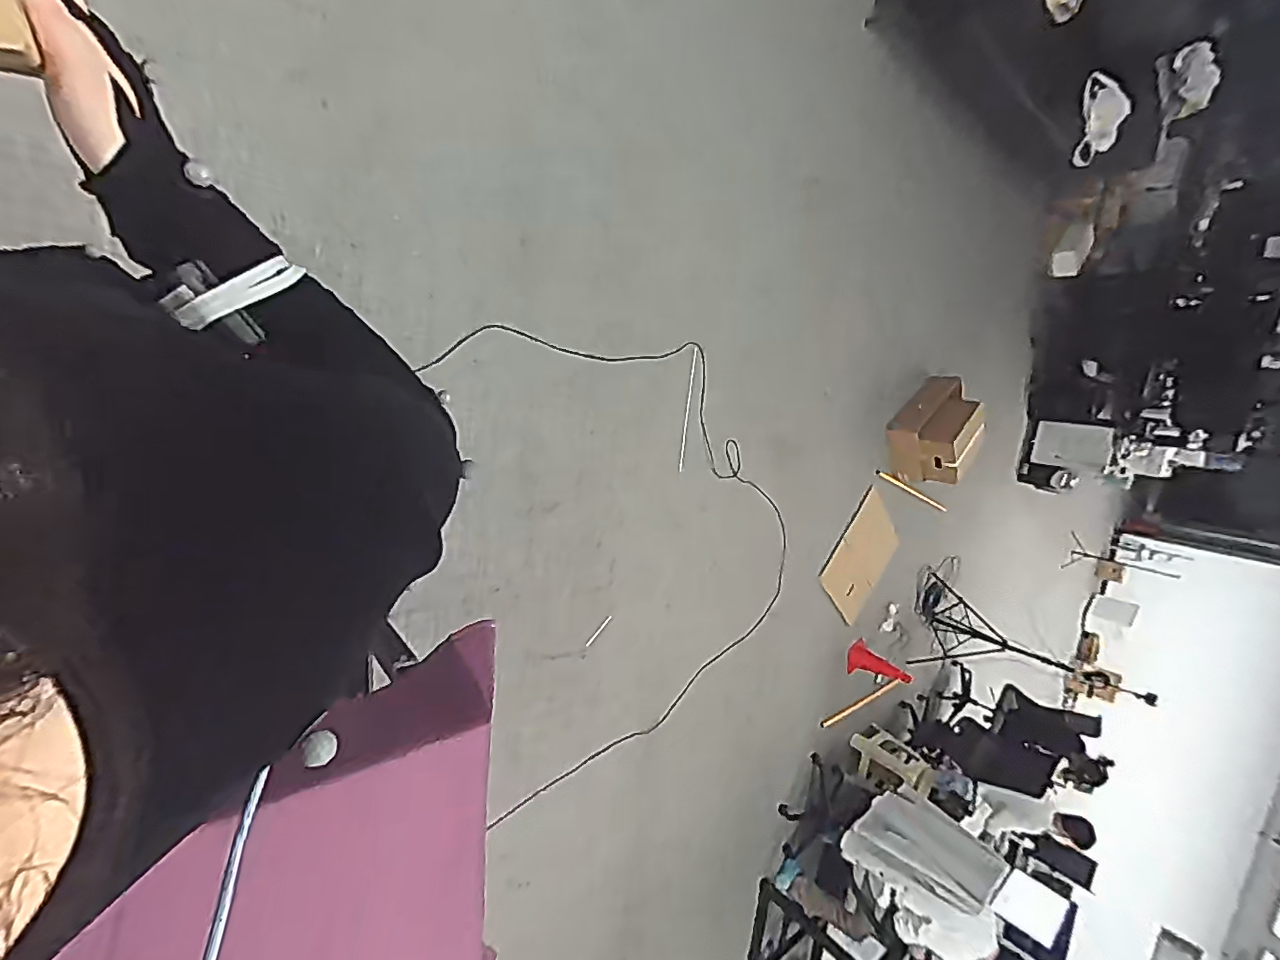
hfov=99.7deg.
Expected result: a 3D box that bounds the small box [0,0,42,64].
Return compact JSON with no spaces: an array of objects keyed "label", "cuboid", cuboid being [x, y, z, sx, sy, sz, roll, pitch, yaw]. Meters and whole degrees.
[{"label":"small box","cuboid":[-0.372,-0.286,0.201,0.168,0.176,0.179,-16,125,-38]}]
